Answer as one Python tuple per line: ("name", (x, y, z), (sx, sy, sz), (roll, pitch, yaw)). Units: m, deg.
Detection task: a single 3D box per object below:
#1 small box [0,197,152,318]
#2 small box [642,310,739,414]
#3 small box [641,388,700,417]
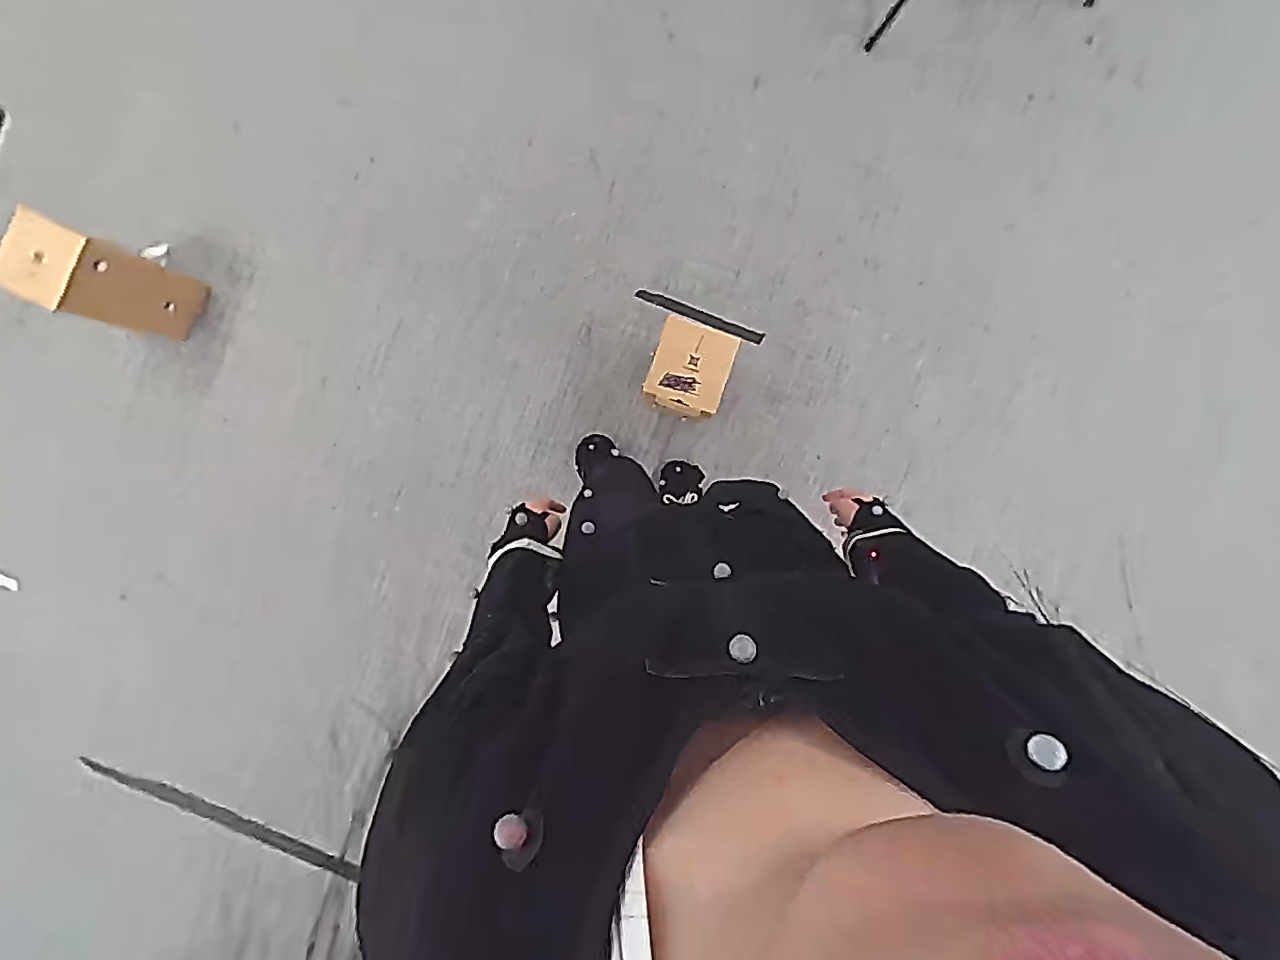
("small box", (-1.290, -0.501, 1.242), (0.168, 0.176, 0.179), (27, 94, 0))
("small box", (0.111, -0.259, 1.234), (0.168, 0.176, 0.179), (19, 92, -1))
("small box", (0.108, -0.270, 1.399), (0.168, 0.176, 0.179), (18, 92, -1))
